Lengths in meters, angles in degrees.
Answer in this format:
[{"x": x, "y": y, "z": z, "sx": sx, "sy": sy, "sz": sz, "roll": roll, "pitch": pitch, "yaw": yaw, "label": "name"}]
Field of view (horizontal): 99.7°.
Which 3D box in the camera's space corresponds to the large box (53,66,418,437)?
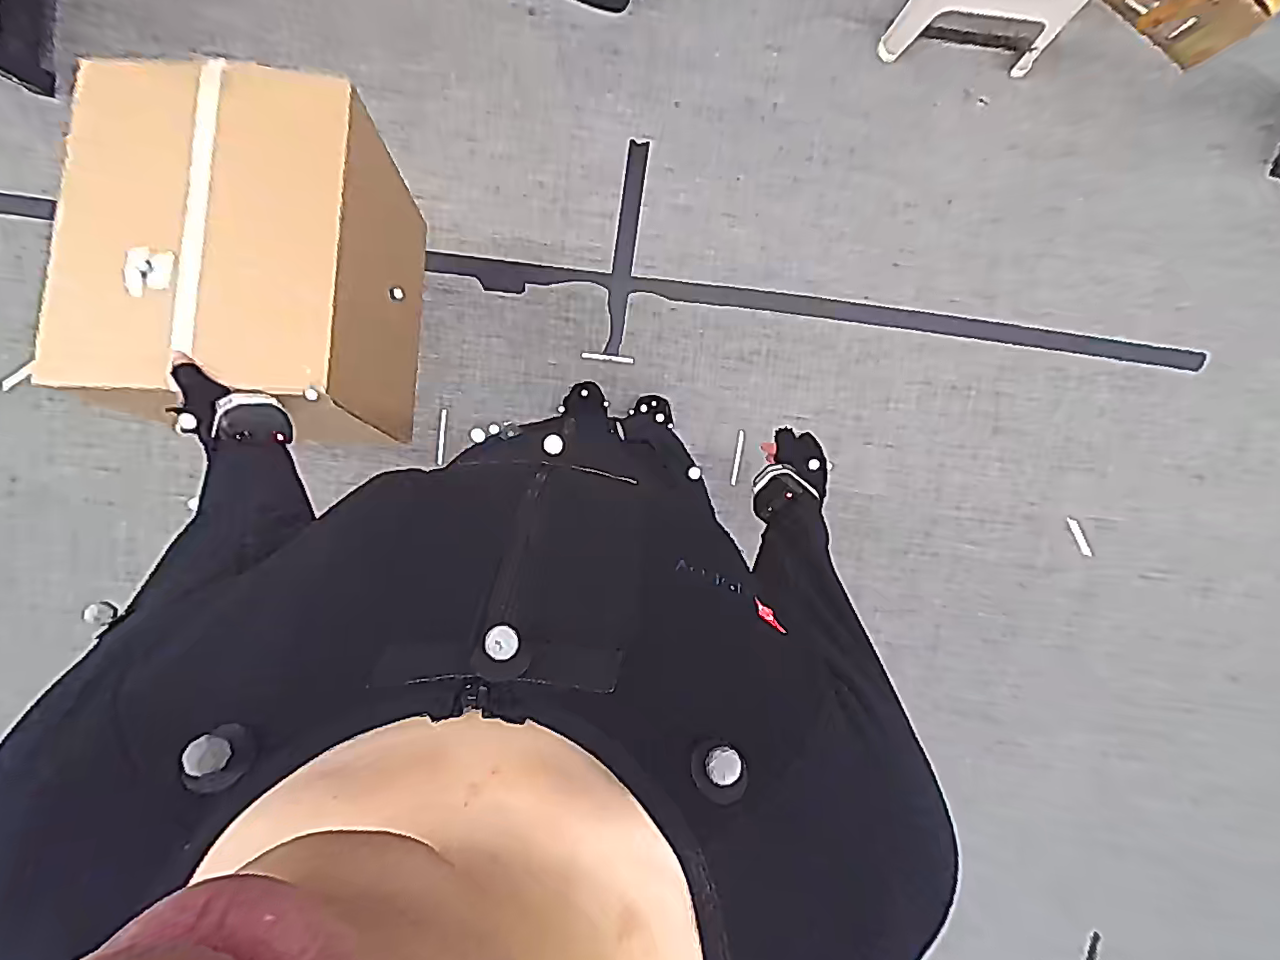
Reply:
[{"x": -0.532, "y": -0.289, "z": 0.794, "sx": 0.320, "sy": 0.320, "sz": 0.408, "roll": 1, "pitch": 84, "yaw": -5, "label": "large box"}]
